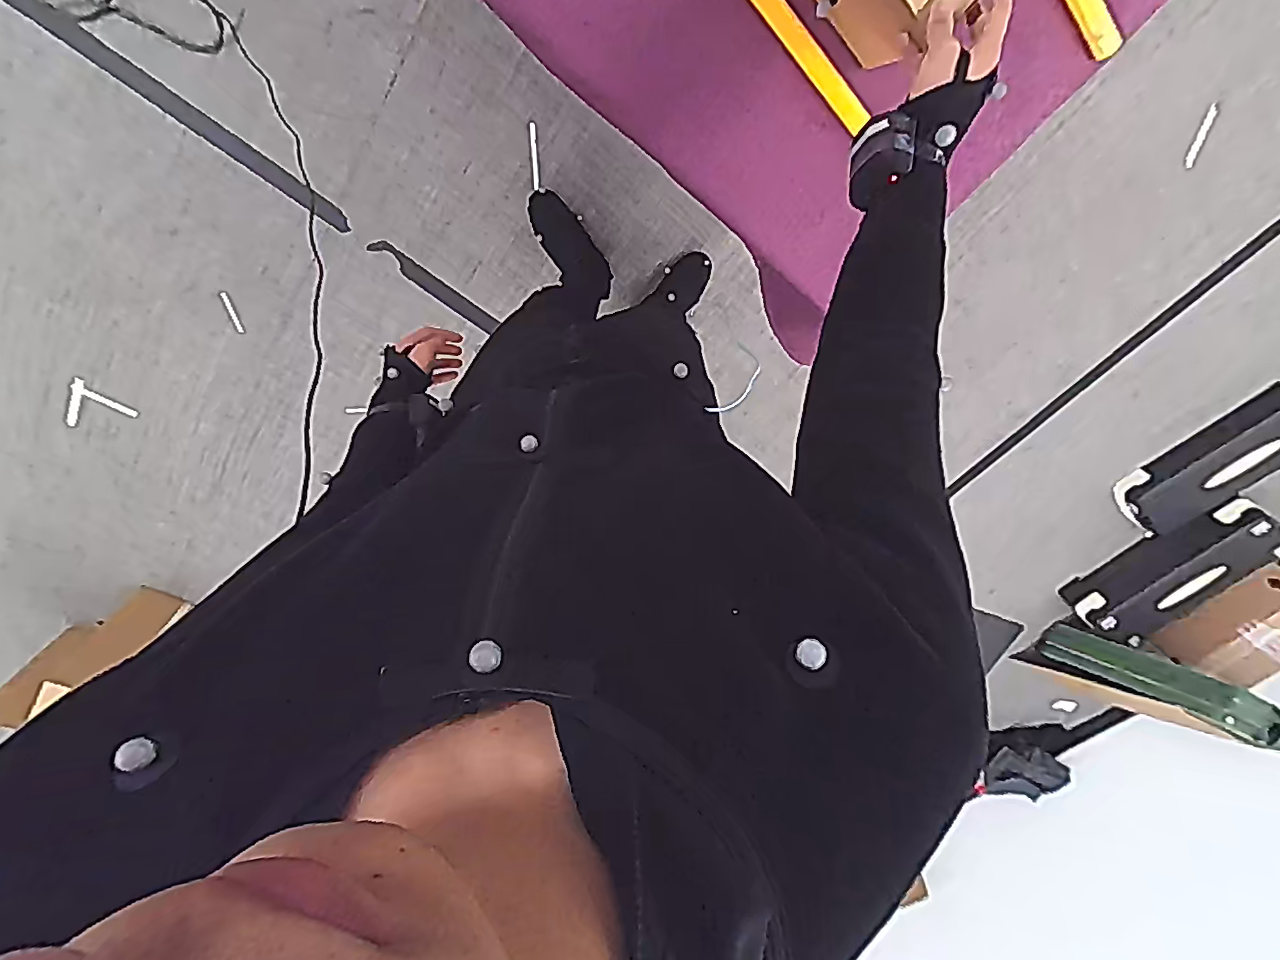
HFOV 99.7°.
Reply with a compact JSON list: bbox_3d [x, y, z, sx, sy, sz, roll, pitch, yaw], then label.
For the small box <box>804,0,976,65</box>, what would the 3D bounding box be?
[{"bbox_3d":[0.252,-0.540,0.516,0.179,0.176,0.168,36,115,-23],"label":"small box"}]
